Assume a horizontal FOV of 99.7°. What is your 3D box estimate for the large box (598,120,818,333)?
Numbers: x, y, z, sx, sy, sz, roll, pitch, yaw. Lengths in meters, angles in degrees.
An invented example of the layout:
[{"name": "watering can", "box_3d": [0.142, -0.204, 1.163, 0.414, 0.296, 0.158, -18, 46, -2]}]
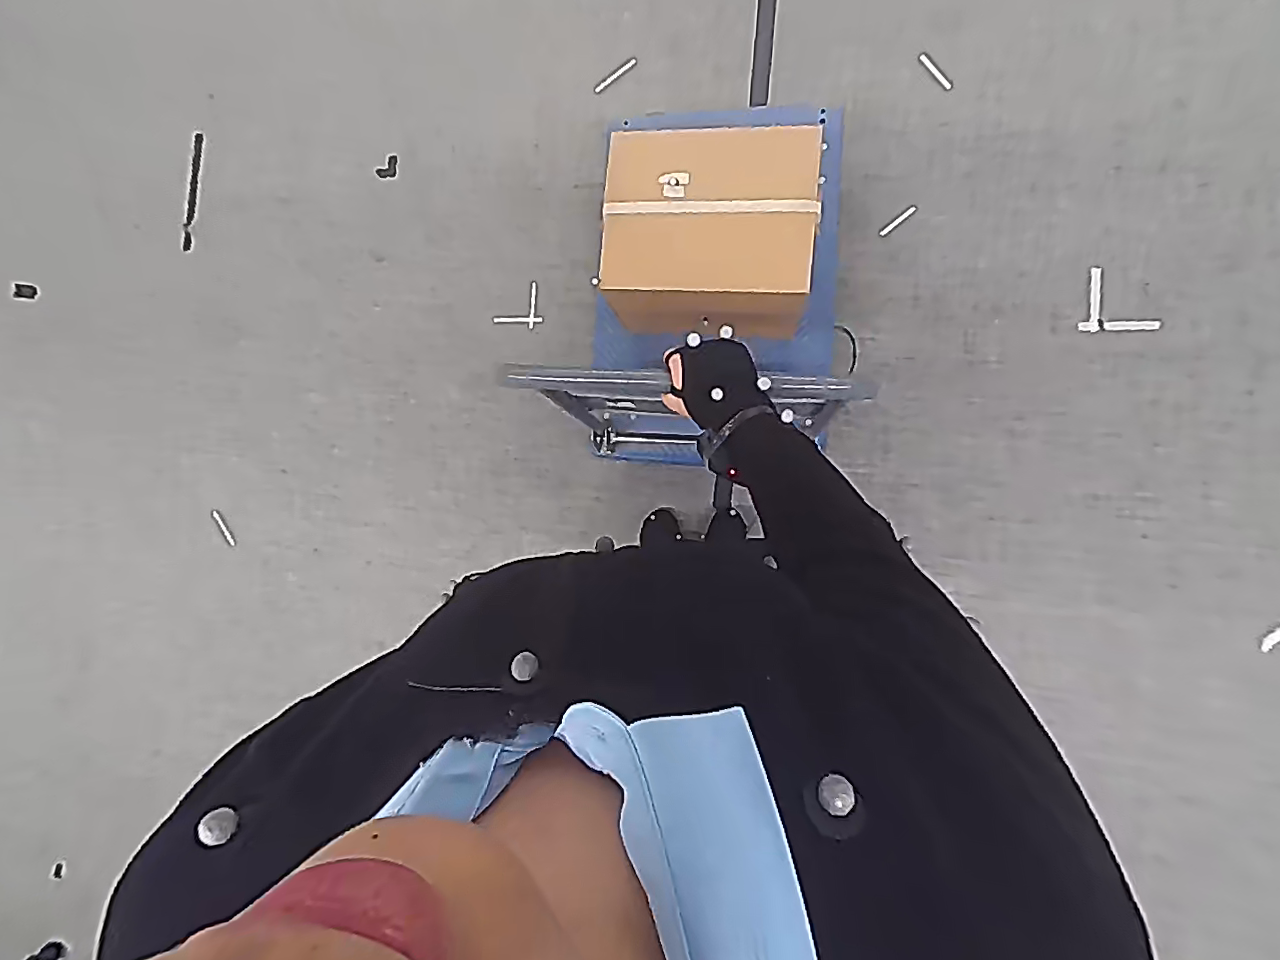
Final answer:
[{"name": "large box", "box_3d": [0.152, -0.510, 1.161, 0.408, 0.320, 0.320, 5, 89, 12]}]
